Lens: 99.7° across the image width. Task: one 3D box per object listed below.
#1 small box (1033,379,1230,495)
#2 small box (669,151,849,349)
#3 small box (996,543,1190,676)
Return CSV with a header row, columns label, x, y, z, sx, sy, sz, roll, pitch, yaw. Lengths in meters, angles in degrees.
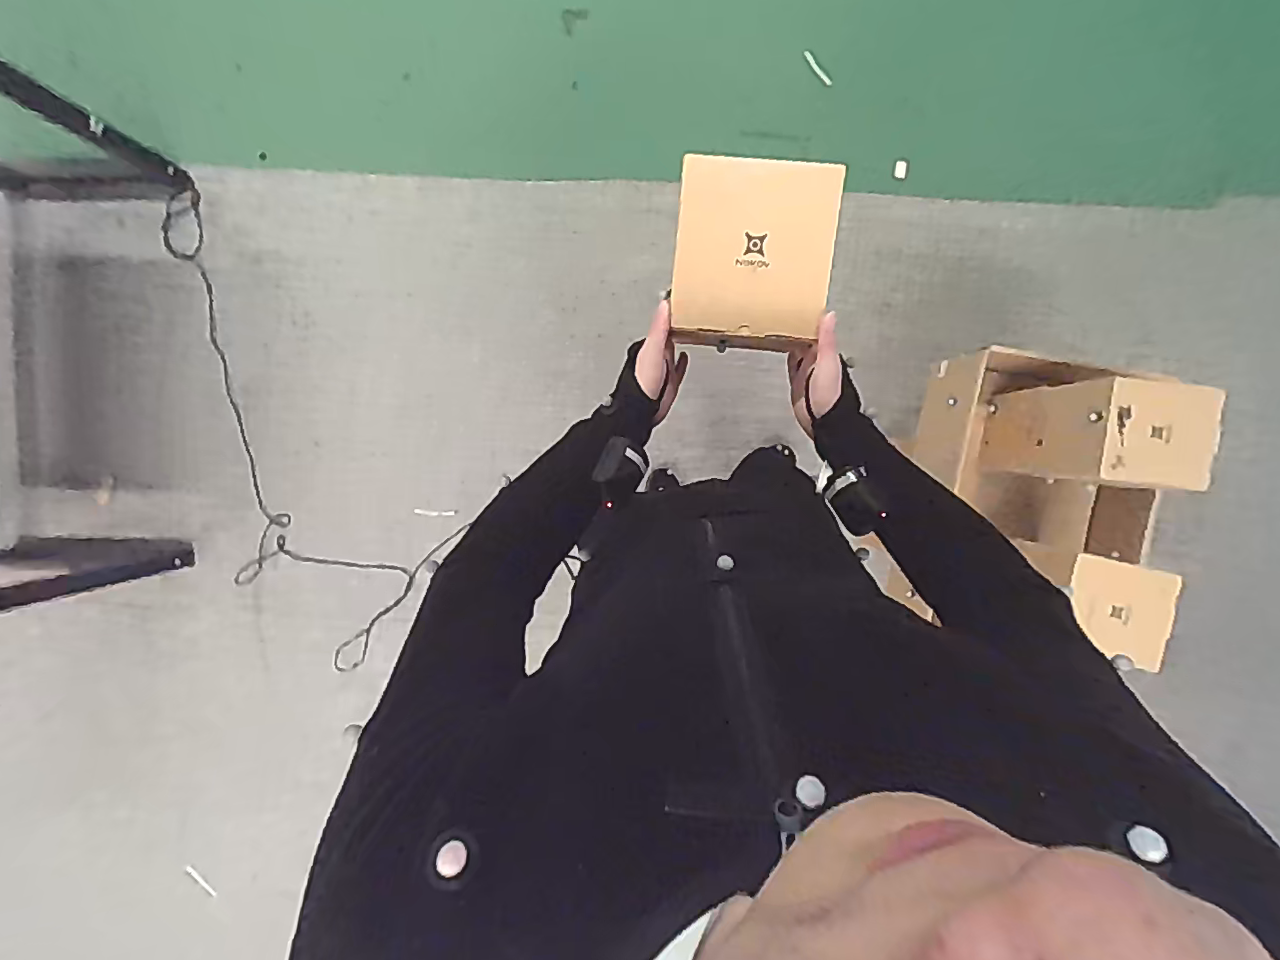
label,x,y,z,sx,sy,sz,roll,pitch,yaw
small box,0.833,-0.071,0.933,0.179,0.176,0.168,7,92,0
small box,0.123,-0.252,0.633,0.168,0.176,0.179,5,101,1
small box,0.777,0.215,0.947,0.179,0.176,0.168,14,92,0
